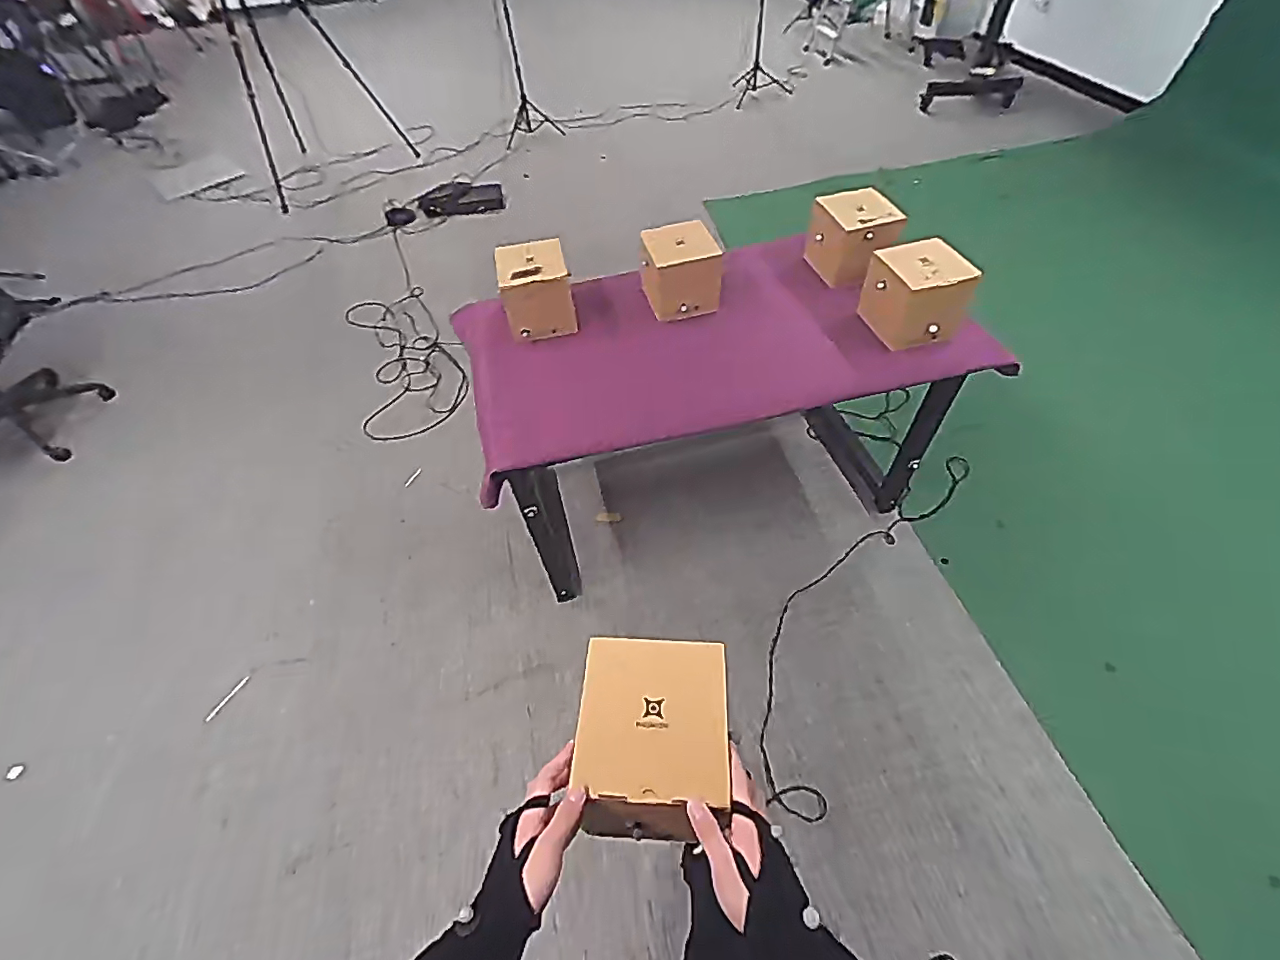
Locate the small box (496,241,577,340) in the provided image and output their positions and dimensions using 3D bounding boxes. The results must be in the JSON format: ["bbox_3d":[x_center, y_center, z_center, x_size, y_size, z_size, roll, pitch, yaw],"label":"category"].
[{"bbox_3d":[-0.262,-0.474,1.378,0.168,0.176,0.179,-12,54,-5],"label":"small box"}]

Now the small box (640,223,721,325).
[{"bbox_3d":[0.102,-0.531,1.399,0.168,0.176,0.179,-14,54,-5],"label":"small box"}]

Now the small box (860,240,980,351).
[{"bbox_3d":[0.643,-0.431,1.271,0.168,0.176,0.179,-14,52,-4],"label":"small box"}]

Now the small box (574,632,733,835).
[{"bbox_3d":[0.019,0.307,0.658,0.168,0.176,0.179,2,47,3],"label":"small box"}]

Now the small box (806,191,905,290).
[{"bbox_3d":[0.561,-0.636,1.440,0.168,0.176,0.179,-15,53,-6],"label":"small box"}]
